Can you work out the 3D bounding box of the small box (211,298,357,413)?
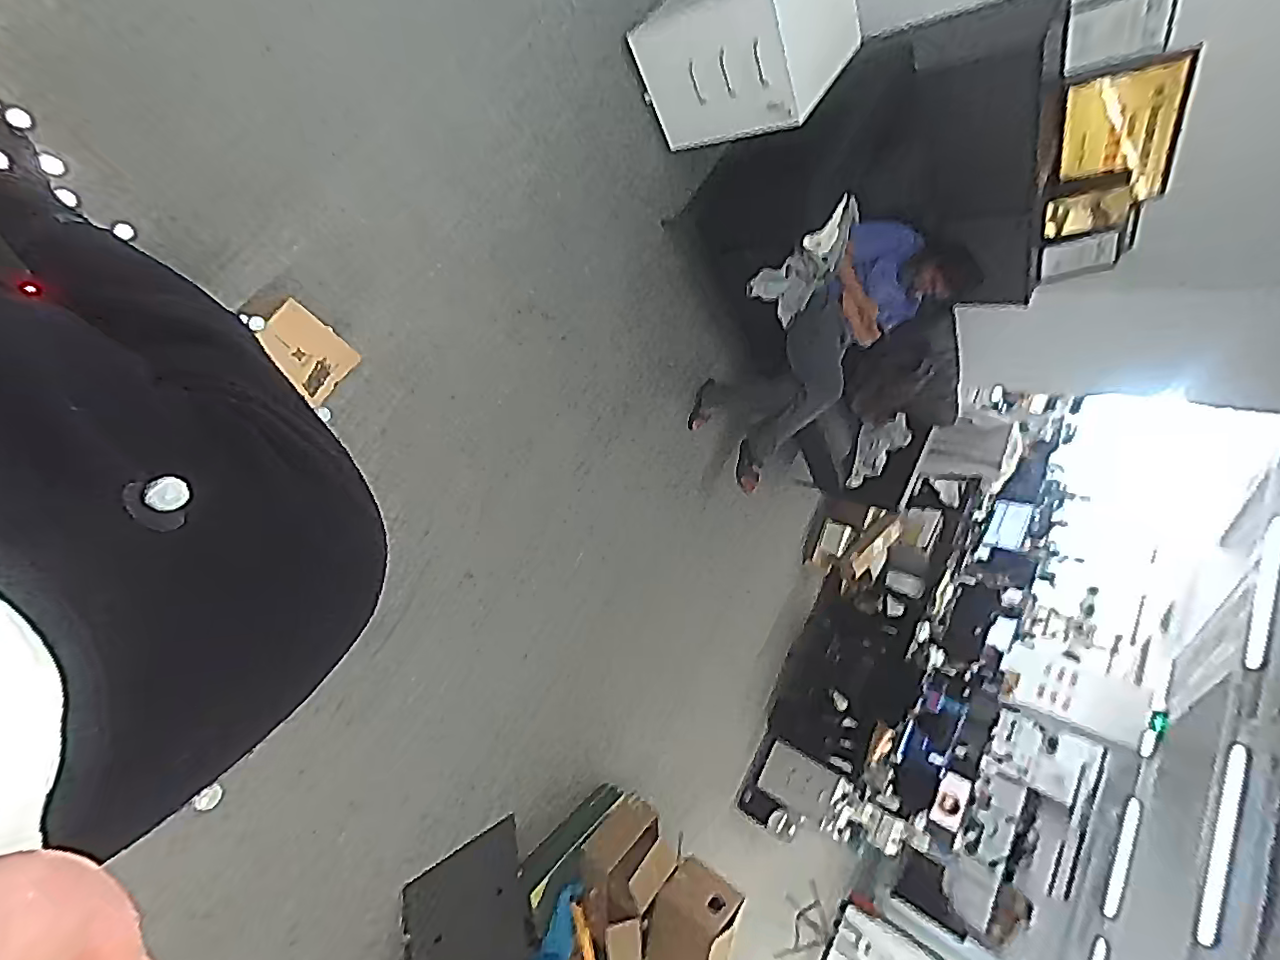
[{"bbox_3d":[-0.759,-0.270,1.156,0.168,0.176,0.179,-59,139,-18],"label":"small box"}]
